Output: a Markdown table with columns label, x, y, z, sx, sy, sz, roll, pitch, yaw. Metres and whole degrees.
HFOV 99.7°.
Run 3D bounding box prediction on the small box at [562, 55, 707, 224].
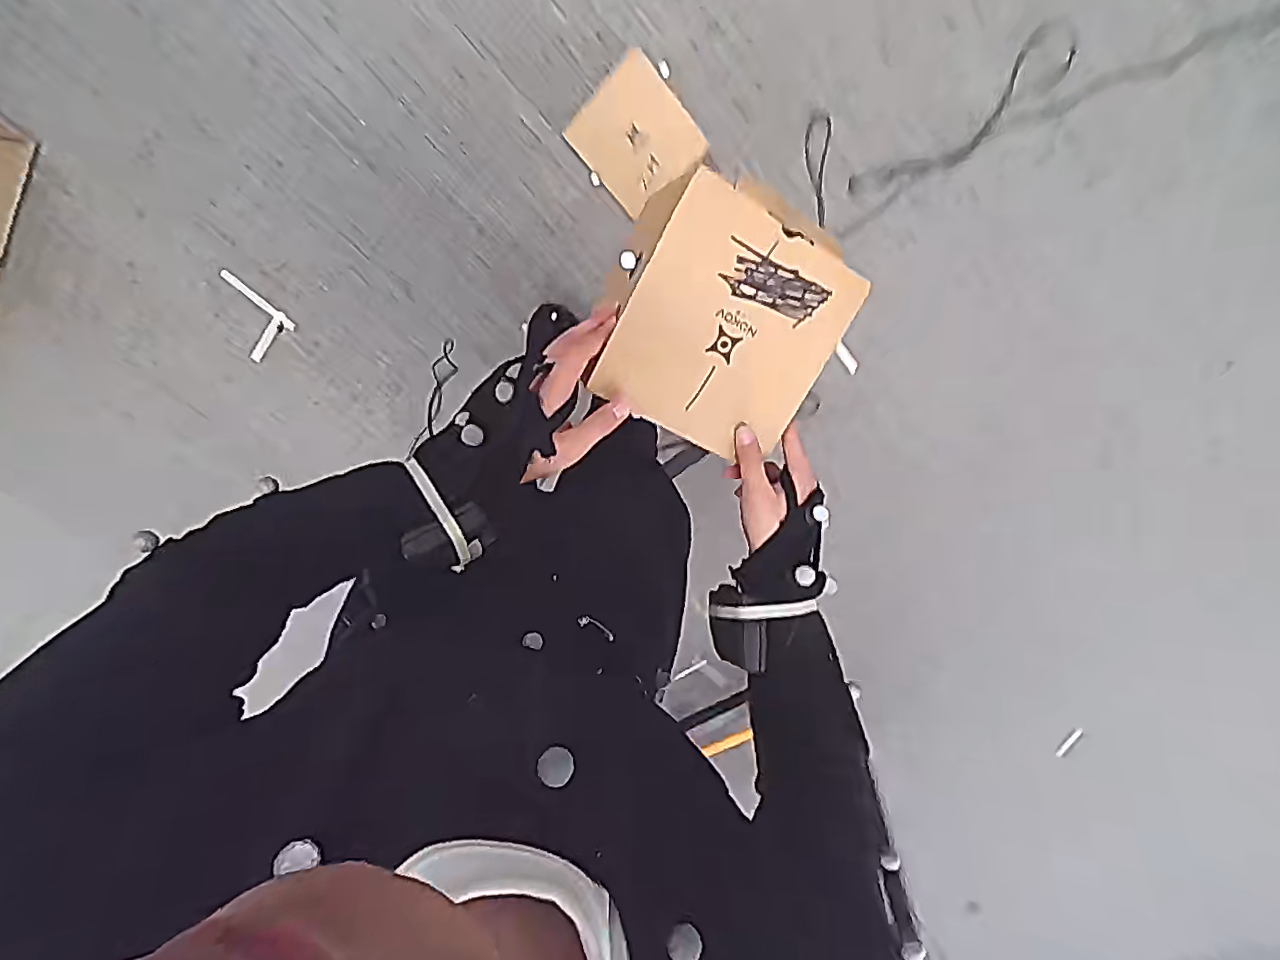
| label | x | y | z | sx | sy | sz | roll | pitch | yaw |
| --- | --- | --- | --- | --- | --- | --- | --- | --- | --- |
| small box | -0.003 | -0.568 | 0.925 | 0.168 | 0.176 | 0.179 | -36 | 111 | 24 |

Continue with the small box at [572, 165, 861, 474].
| label | x | y | z | sx | sy | sz | roll | pitch | yaw |
| --- | --- | --- | --- | --- | --- | --- | --- | --- | --- |
| small box | 0.047 | -0.137 | 0.481 | 0.168 | 0.176 | 0.179 | 24 | 104 | -18 |
